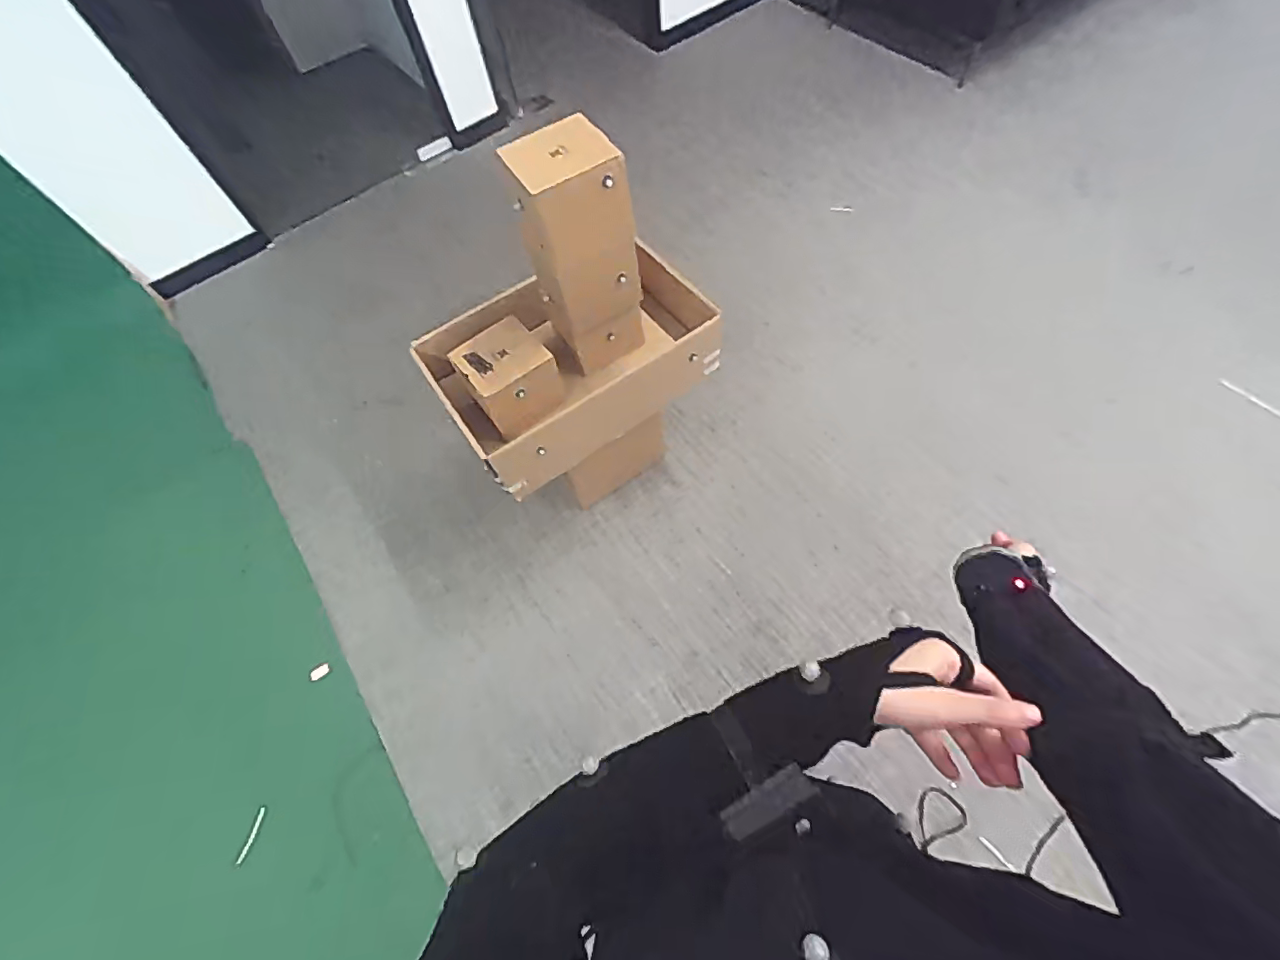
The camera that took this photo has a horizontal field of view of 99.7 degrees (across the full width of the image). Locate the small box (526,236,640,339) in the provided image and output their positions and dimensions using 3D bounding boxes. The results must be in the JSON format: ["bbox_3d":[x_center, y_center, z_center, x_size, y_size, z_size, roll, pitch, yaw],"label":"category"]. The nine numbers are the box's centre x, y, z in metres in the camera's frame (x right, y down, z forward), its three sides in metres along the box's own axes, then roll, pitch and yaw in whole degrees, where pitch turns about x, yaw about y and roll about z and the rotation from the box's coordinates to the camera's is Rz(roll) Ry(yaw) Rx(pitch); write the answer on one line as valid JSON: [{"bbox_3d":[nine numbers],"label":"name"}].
[{"bbox_3d":[-0.112,-0.437,1.147,0.179,0.176,0.168,-31,63,-8],"label":"small box"}]

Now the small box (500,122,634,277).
[{"bbox_3d":[-0.128,-0.514,1.006,0.179,0.176,0.168,-29,62,-9],"label":"small box"}]
